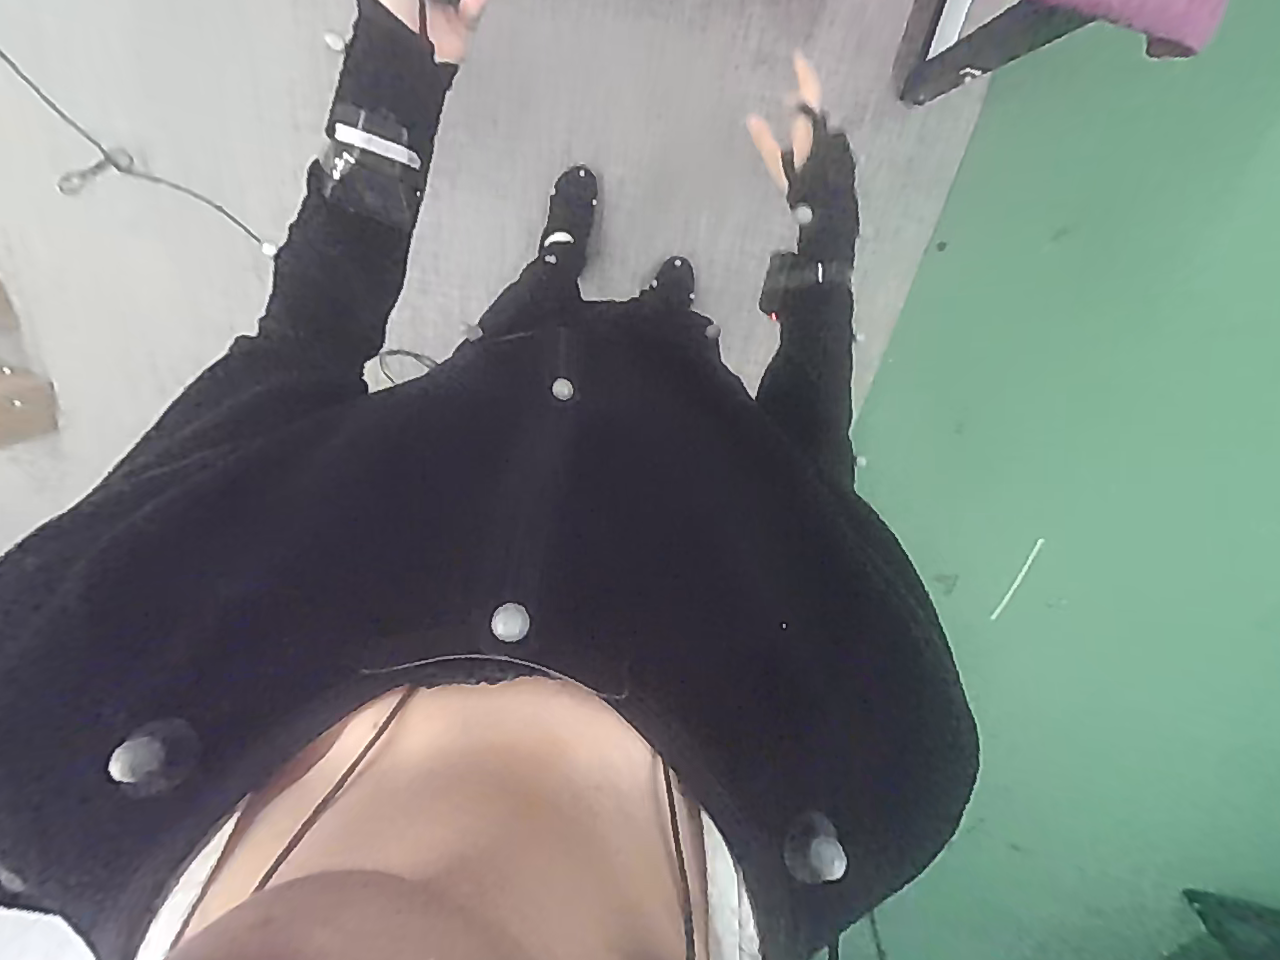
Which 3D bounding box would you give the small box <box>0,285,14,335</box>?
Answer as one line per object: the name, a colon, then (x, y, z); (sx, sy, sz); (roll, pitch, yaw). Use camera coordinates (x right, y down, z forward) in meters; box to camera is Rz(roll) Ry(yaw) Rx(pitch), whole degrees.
small box: (-1.791, -0.452, 1.387); (0.179, 0.176, 0.168); (5, 116, 1)
